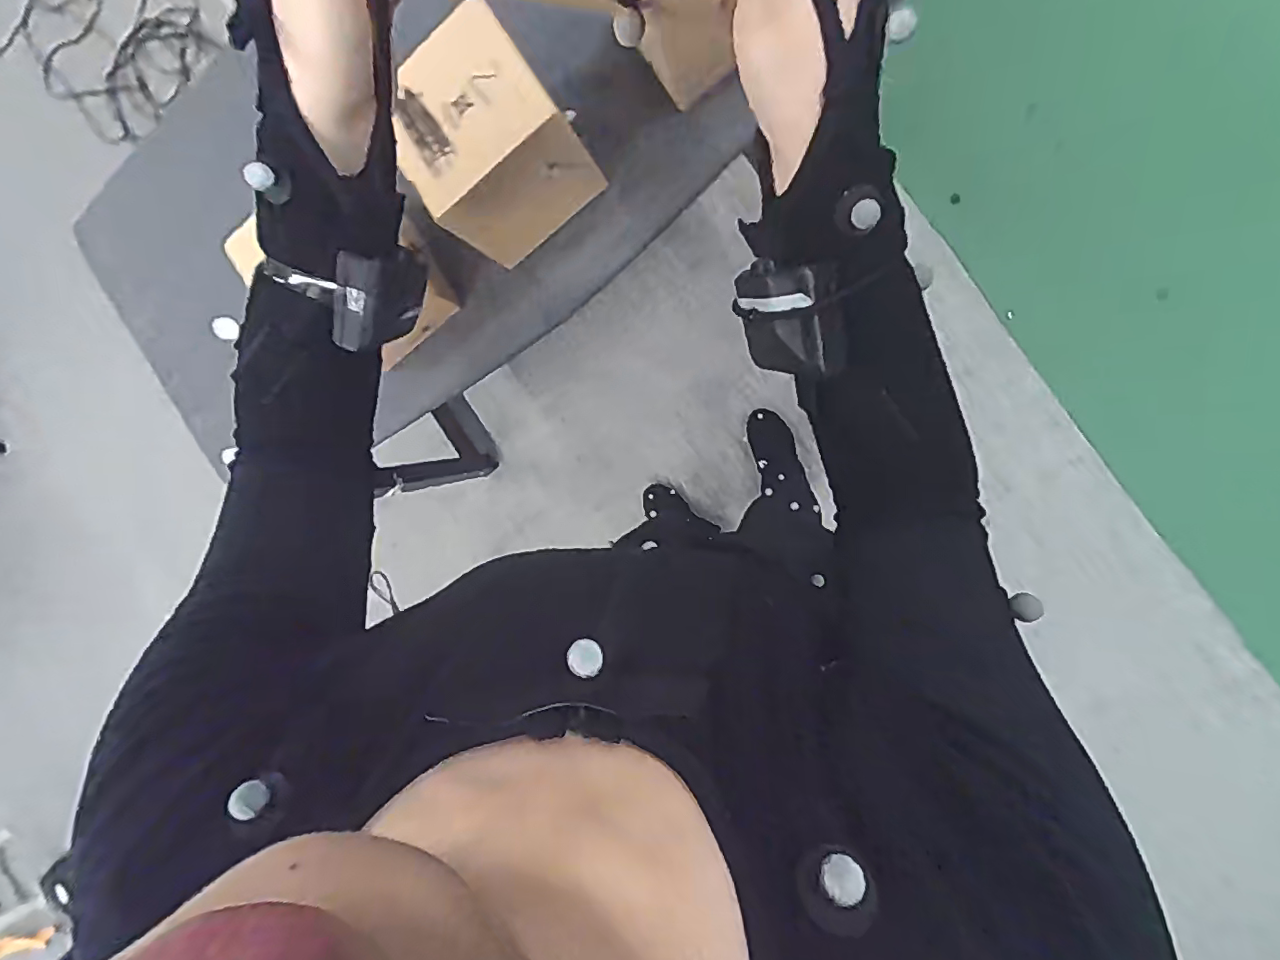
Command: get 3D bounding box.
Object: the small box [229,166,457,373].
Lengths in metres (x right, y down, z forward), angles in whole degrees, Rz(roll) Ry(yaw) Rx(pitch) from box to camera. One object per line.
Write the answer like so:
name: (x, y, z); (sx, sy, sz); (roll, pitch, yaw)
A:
small box: (-0.387, -0.264, 0.728); (0.168, 0.176, 0.179); (-33, 85, 16)

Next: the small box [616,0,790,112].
small box: (0.052, -0.559, 0.581); (0.179, 0.176, 0.168); (-34, 83, 16)
